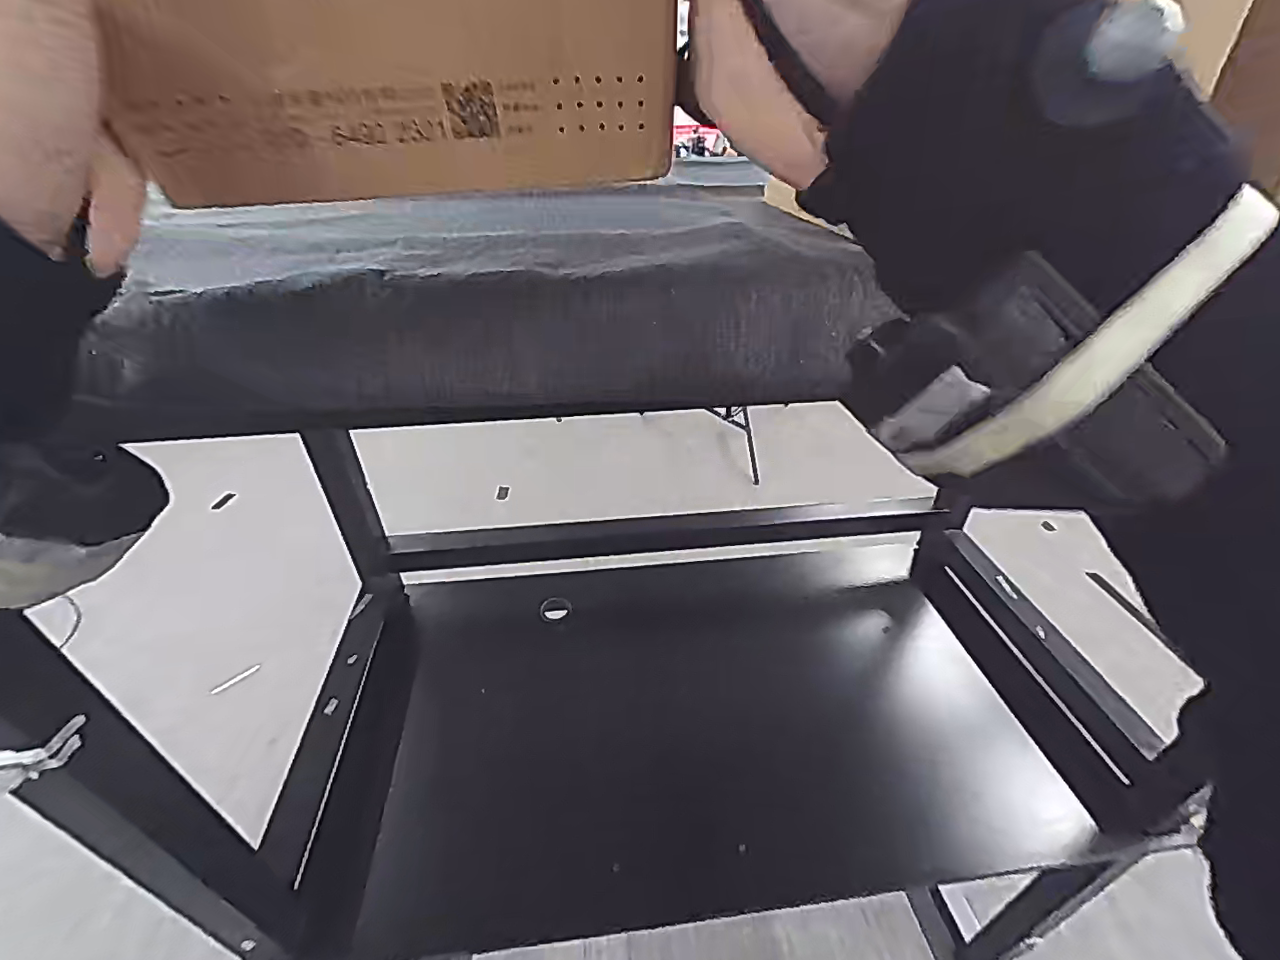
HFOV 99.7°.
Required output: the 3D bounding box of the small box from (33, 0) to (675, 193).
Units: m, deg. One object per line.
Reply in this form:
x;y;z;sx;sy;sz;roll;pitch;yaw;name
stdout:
-0.080;-0.204;0.160;0.168;0.176;0.179;-6;54;-4;small box
